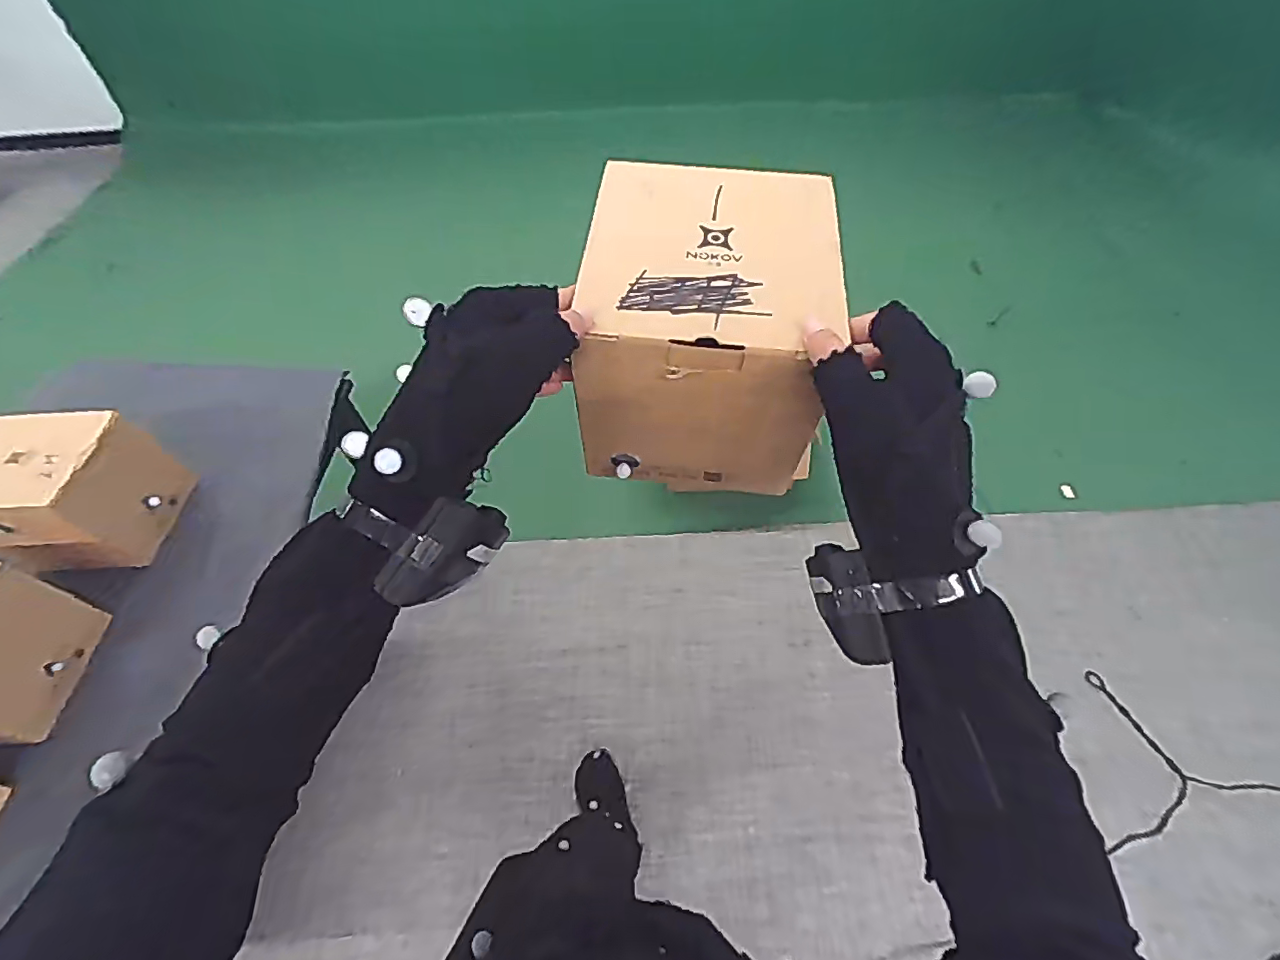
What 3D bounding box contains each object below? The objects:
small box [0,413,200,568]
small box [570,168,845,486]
[{"bbox_3d":[-0.821,0.021,0.797,0.179,0.176,0.168,-2,54,1],"label":"small box"},{"bbox_3d":[0.049,-0.111,0.426,0.168,0.176,0.179,6,59,3],"label":"small box"}]
